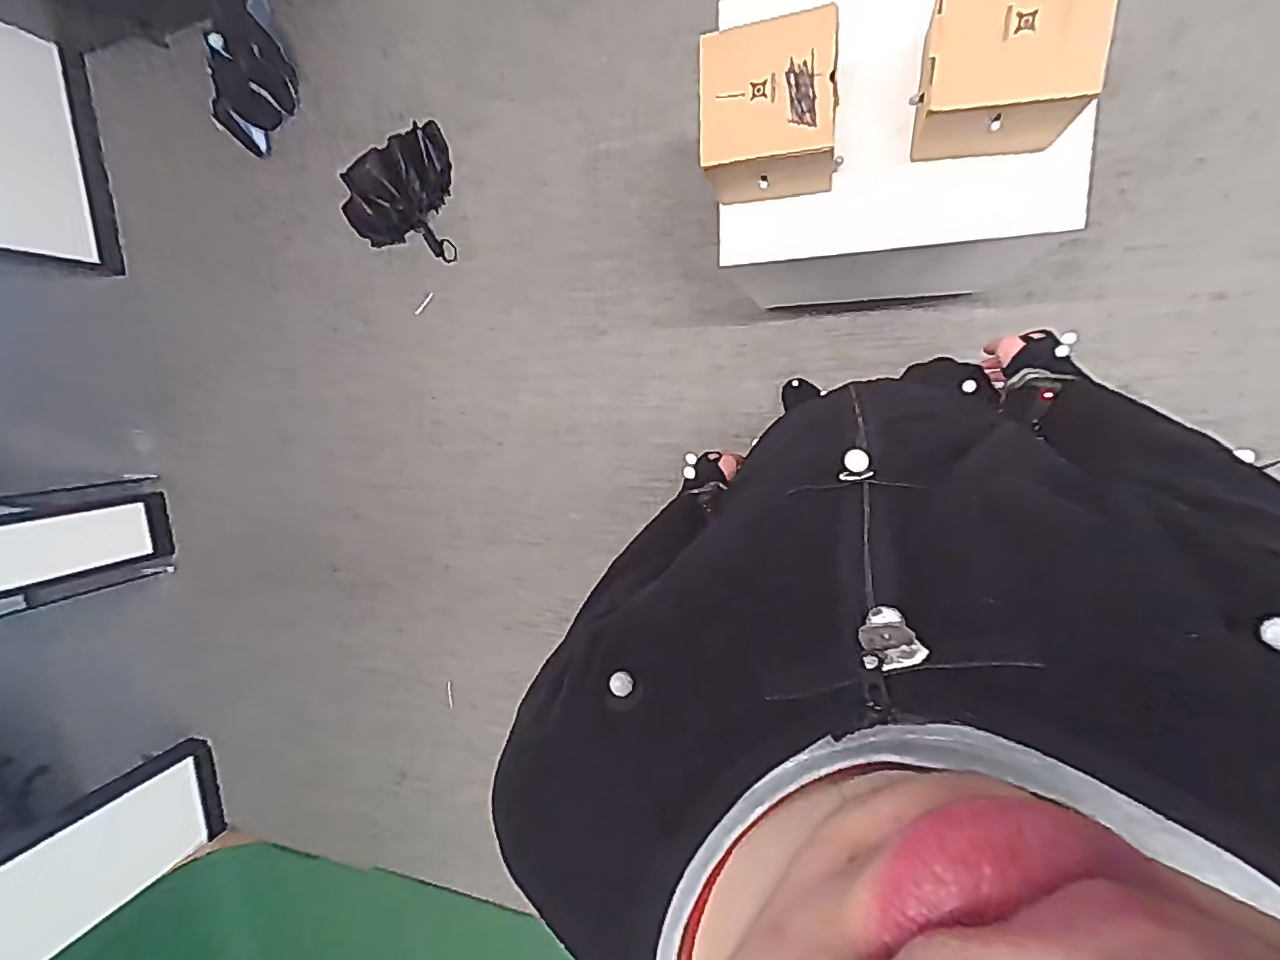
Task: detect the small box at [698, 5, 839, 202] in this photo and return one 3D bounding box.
[{"bbox_3d":[0.187,-0.518,0.774,0.179,0.176,0.168,2,100,19],"label":"small box"}]

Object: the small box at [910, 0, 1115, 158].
[{"bbox_3d":[0.453,-0.527,0.681,0.179,0.176,0.168,6,103,18],"label":"small box"}]
